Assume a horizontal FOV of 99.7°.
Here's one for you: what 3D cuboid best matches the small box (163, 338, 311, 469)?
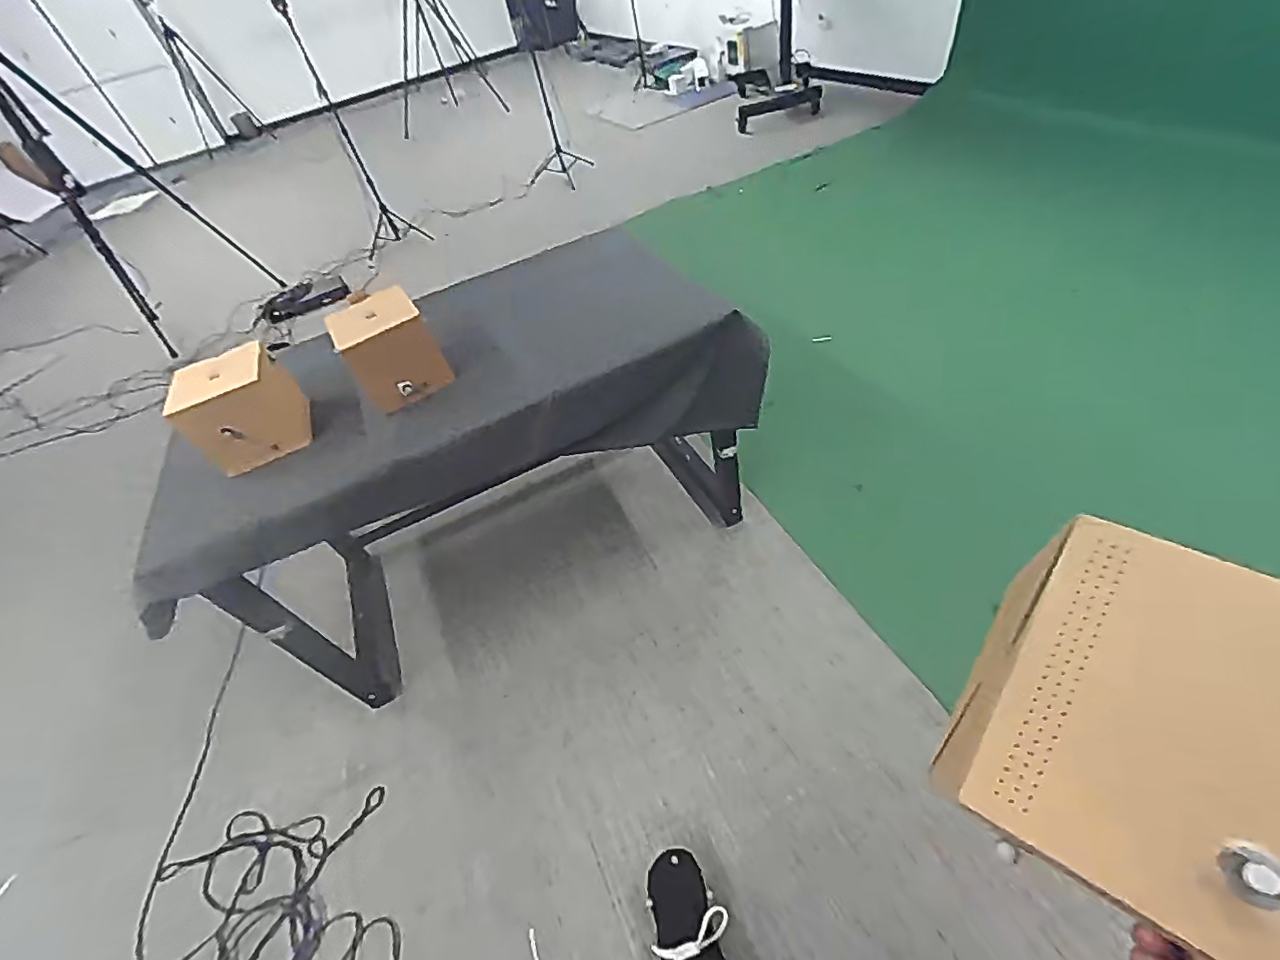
[{"bbox_3d":[-0.778,-0.143,1.065,0.168,0.176,0.179,-27,47,-11],"label":"small box"}]

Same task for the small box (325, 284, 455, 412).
[{"bbox_3d":[-0.512,-0.271,1.119,0.168,0.176,0.179,-32,49,-14],"label":"small box"}]
